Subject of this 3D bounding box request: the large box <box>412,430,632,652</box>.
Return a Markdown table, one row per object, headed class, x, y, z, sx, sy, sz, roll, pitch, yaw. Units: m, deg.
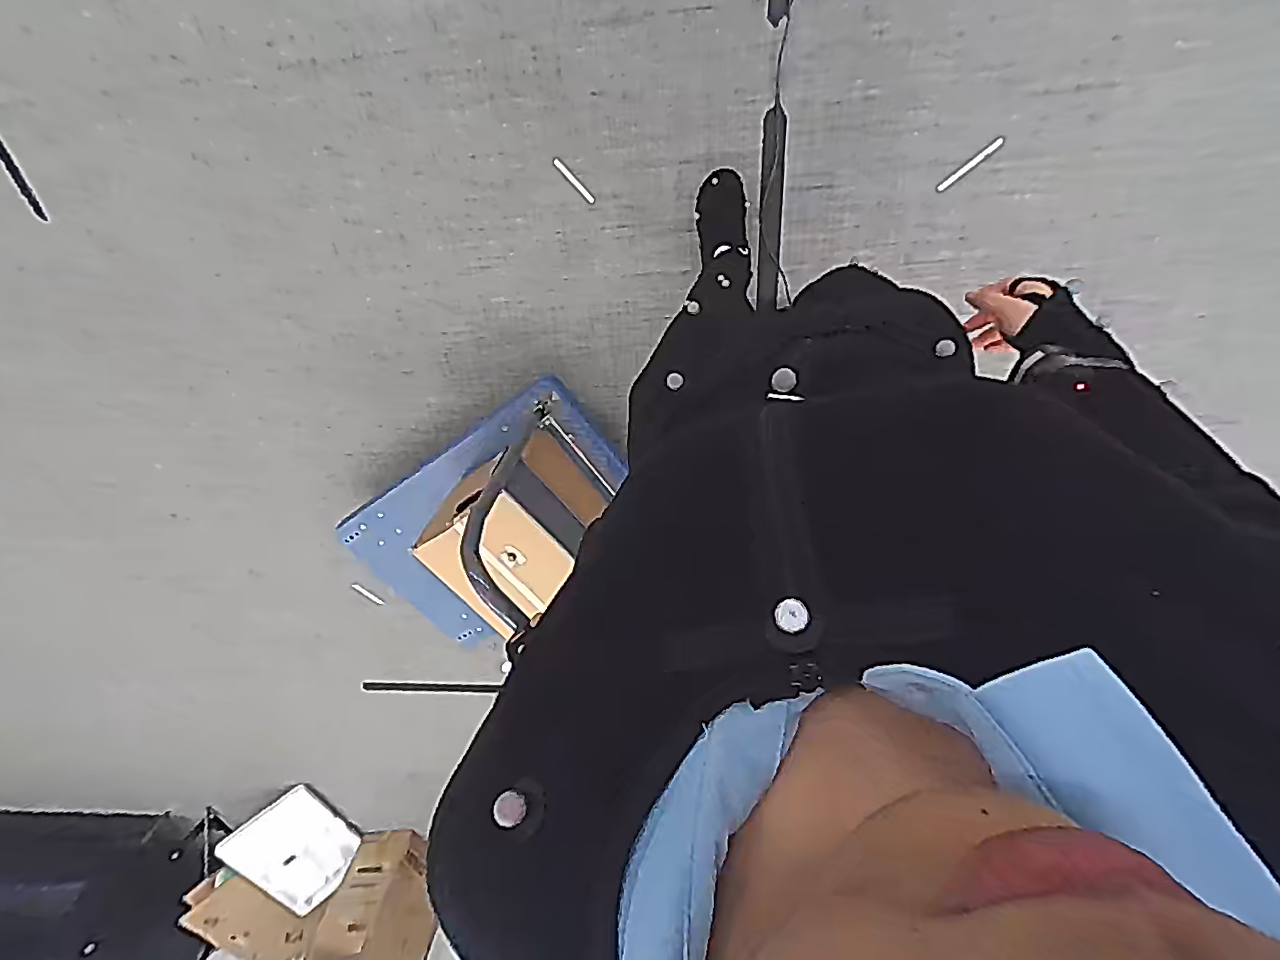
| class | x | y | z | sx | sy | sz | roll | pitch | yaw |
| --- | --- | --- | --- | --- | --- | --- | --- | --- | --- |
| large box | -0.268 | 0.153 | 1.375 | 0.320 | 0.320 | 0.408 | -30 | 113 | 20 |
